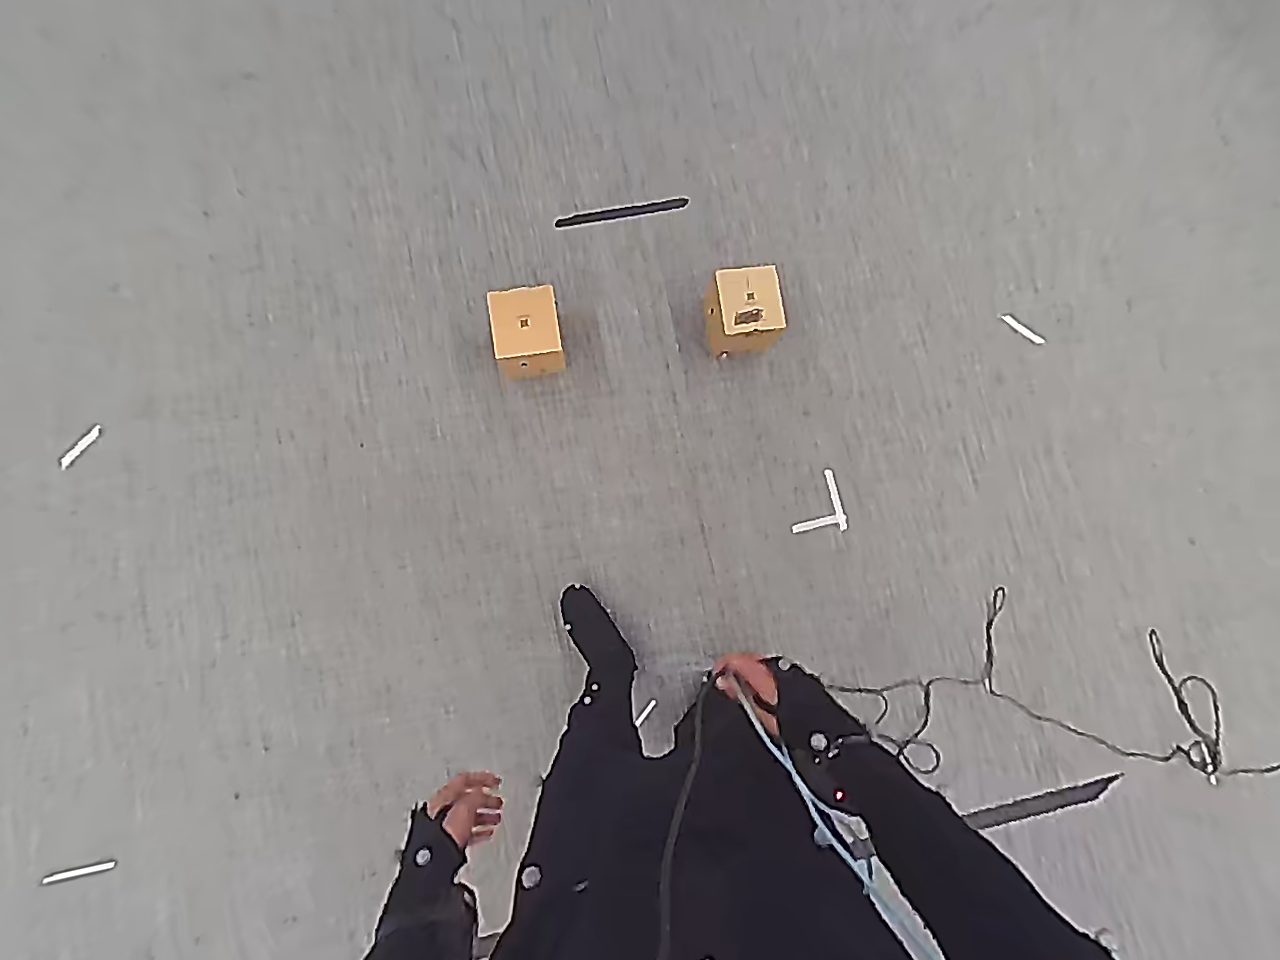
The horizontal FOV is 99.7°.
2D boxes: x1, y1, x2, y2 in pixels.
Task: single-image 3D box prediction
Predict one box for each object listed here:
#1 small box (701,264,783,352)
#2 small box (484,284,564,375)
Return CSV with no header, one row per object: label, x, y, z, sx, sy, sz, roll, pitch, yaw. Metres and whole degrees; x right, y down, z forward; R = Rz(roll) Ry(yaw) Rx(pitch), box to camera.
small box,0.270,-0.457,1.464,0.168,0.176,0.179,-8,84,-6
small box,-0.296,-0.383,1.412,0.168,0.176,0.179,-9,84,-5
